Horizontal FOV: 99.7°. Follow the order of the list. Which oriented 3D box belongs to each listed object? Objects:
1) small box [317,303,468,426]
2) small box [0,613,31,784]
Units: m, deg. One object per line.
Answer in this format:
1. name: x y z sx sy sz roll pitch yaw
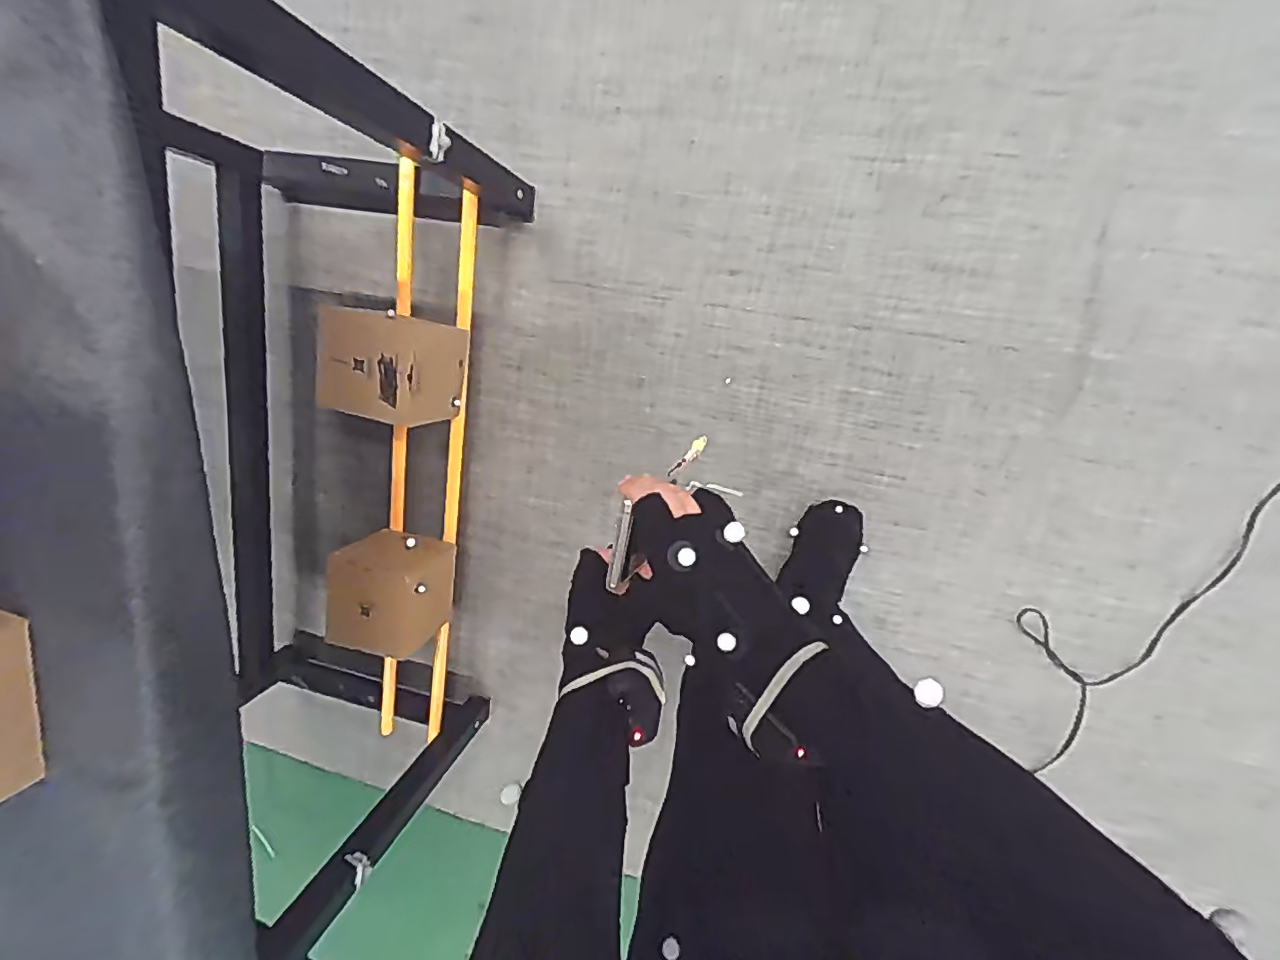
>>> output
1. small box: -0.423 -0.203 0.942 0.179 0.176 0.168 15 105 9
2. small box: -0.651 0.195 0.430 0.168 0.176 0.179 14 106 10
